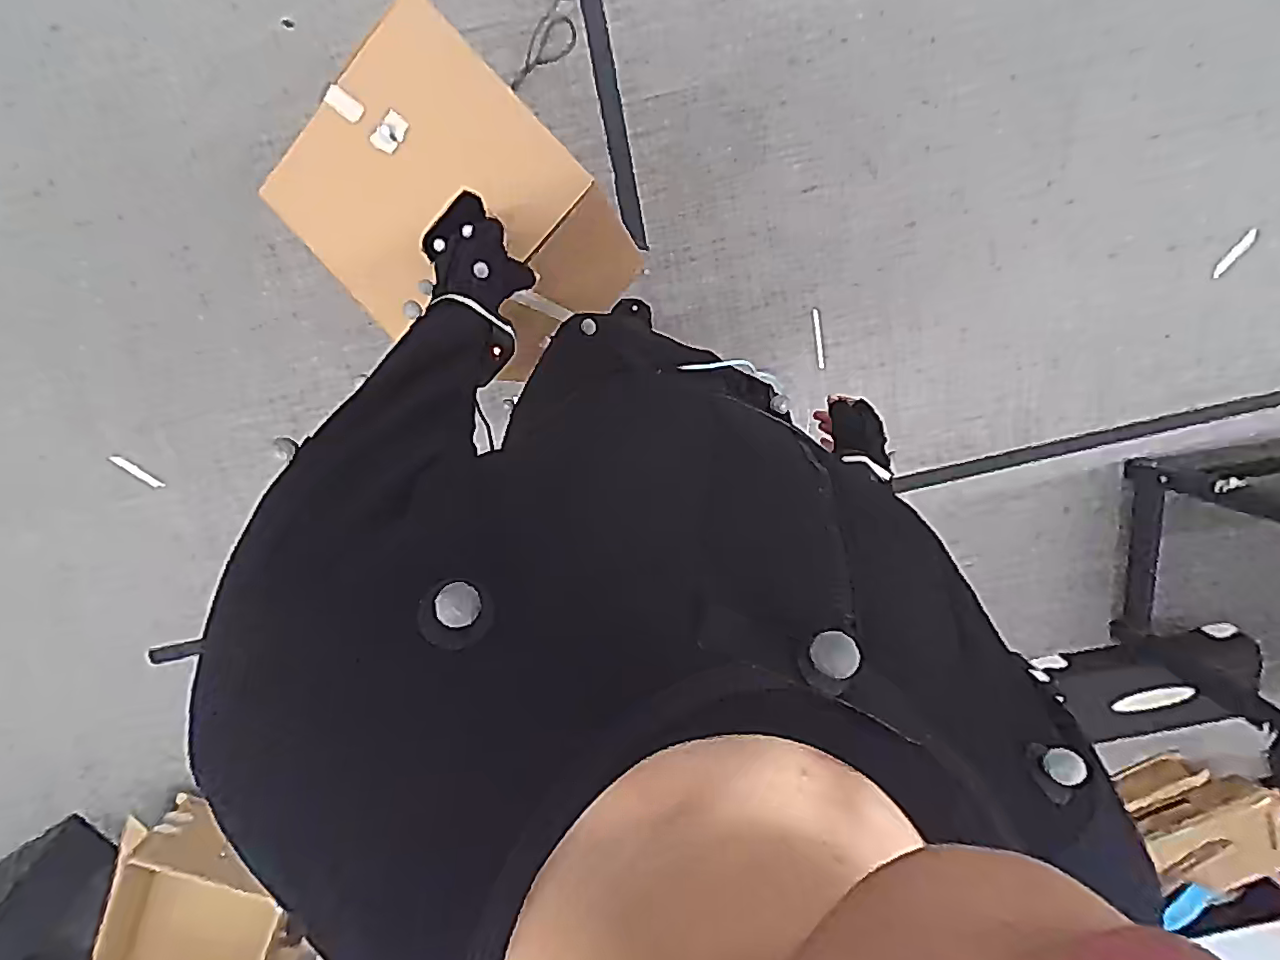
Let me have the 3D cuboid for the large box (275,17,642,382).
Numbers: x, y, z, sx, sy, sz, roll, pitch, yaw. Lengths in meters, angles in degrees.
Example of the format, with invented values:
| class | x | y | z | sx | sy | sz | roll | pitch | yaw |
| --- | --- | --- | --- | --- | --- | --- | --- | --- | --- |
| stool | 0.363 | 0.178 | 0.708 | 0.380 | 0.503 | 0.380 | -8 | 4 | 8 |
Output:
| class | x | y | z | sx | sy | sz | roll | pitch | yaw |
| --- | --- | --- | --- | --- | --- | --- | --- | --- | --- |
| large box | -0.238 | -0.373 | 0.850 | 0.320 | 0.408 | 0.320 | -43 | 91 | 13 |
